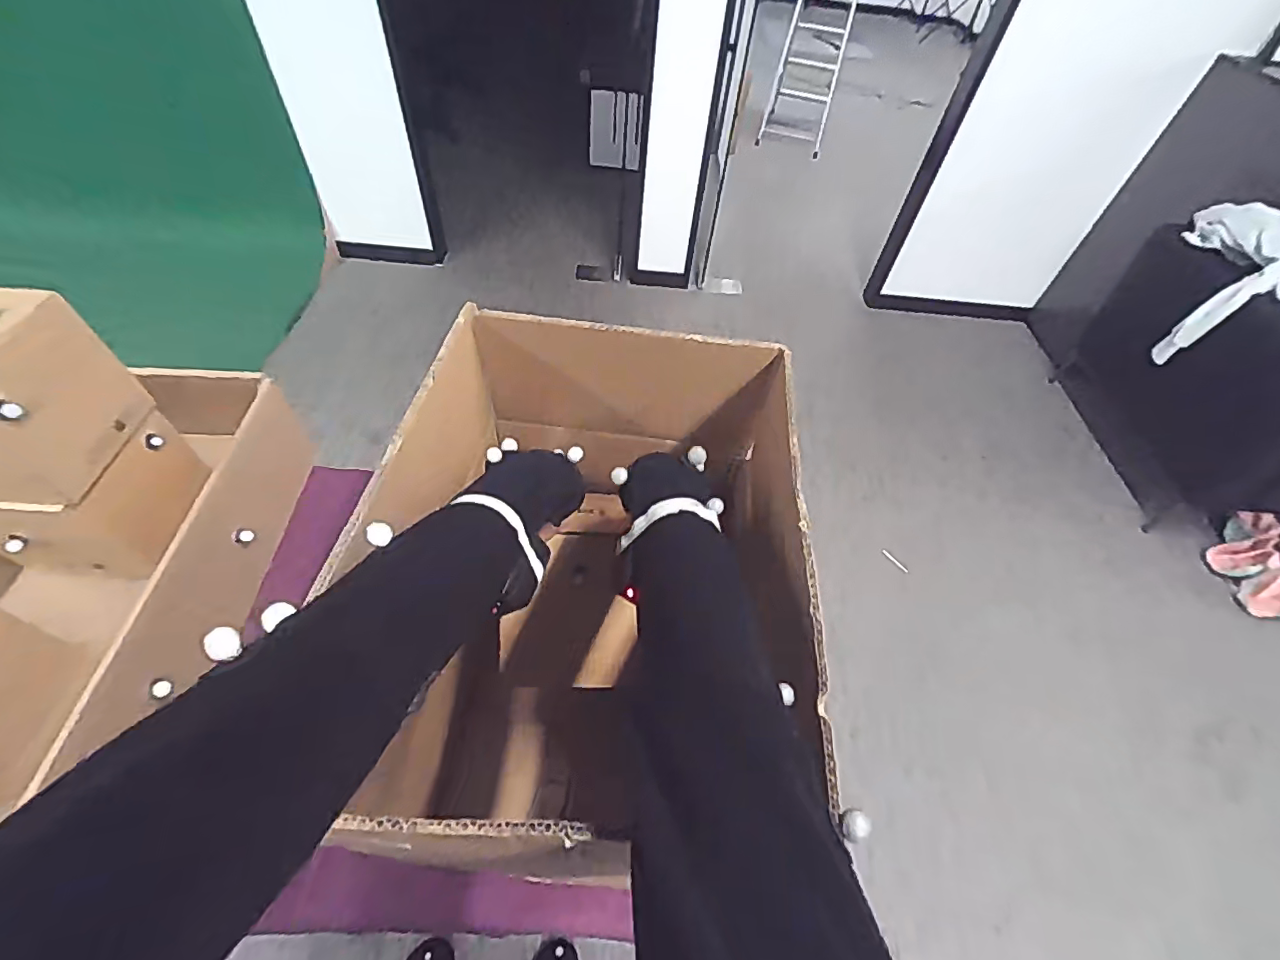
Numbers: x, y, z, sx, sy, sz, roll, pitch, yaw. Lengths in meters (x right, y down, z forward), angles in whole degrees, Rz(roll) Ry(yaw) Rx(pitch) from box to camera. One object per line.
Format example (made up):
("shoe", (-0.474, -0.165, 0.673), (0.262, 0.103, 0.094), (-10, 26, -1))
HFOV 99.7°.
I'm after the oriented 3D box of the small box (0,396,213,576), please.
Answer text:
("small box", (-0.727, 0.013, 0.720), (0.168, 0.176, 0.179), (4, 52, -1))
